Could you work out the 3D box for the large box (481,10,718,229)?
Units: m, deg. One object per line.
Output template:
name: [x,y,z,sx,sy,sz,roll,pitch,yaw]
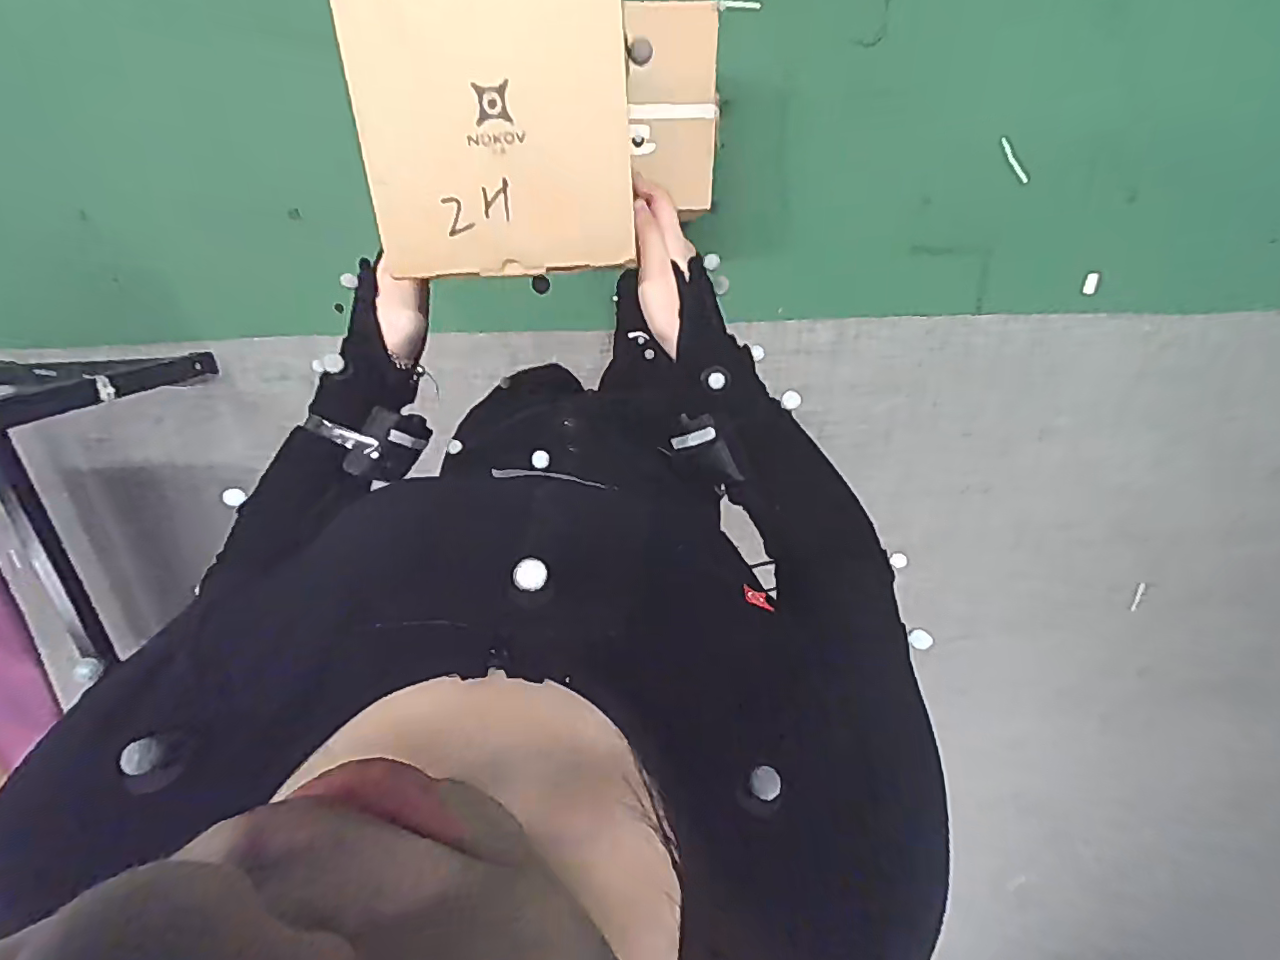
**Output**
large box: [-0.071,-0.689,1.091,0.408,0.320,0.320,0,112,-1]
